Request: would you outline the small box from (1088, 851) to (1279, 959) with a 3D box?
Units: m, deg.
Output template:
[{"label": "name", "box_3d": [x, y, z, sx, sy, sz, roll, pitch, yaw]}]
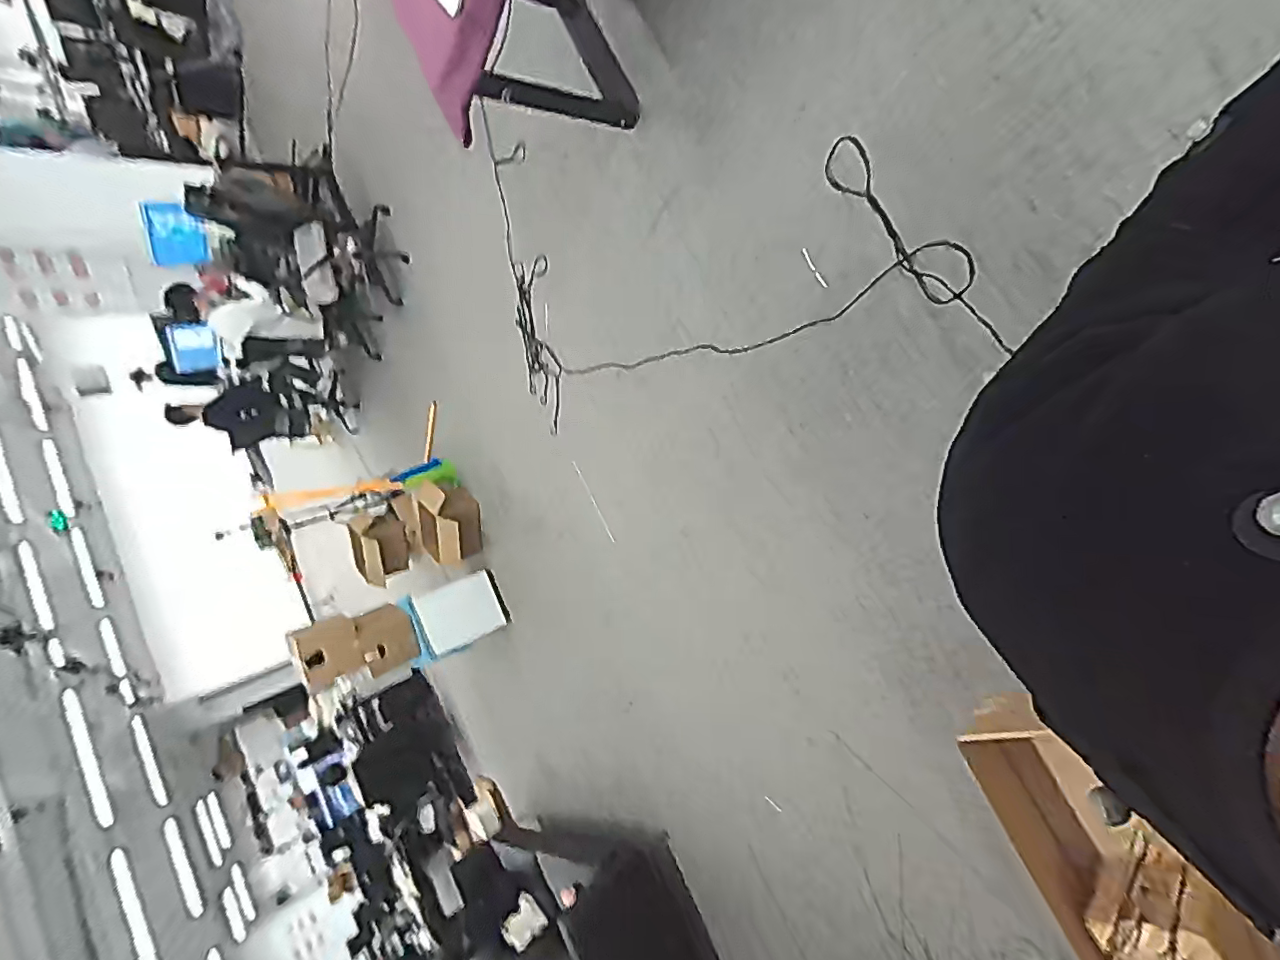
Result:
[{"label": "small box", "box_3d": [0.907, 0.758, 0.904, 0.168, 0.176, 0.179, -44, 69, 48]}]
